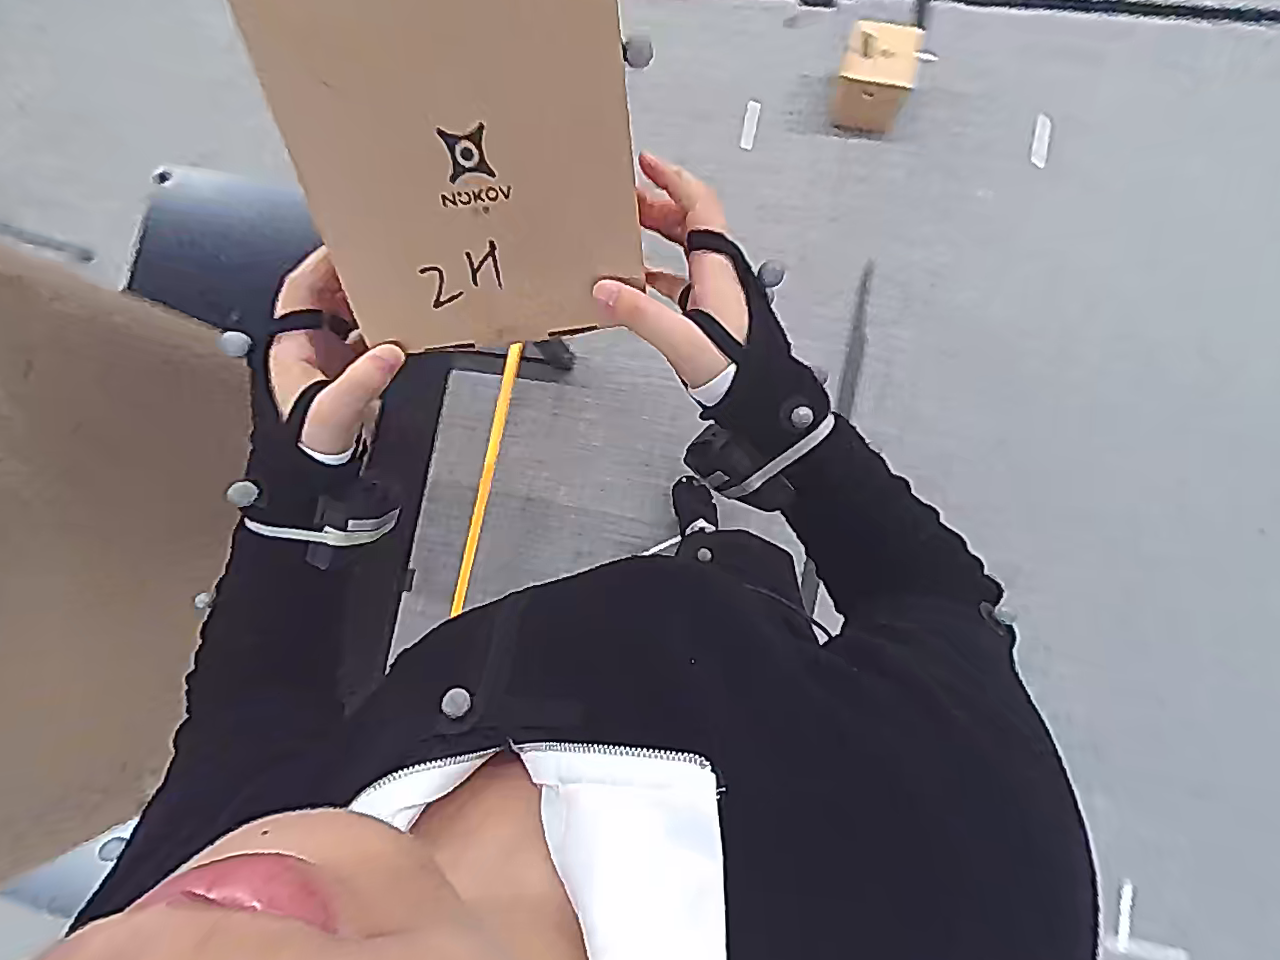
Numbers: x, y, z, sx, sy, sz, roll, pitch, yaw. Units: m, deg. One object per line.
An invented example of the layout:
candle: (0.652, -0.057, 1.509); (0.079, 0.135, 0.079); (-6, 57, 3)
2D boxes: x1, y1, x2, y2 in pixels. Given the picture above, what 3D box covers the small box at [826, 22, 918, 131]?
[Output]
small box: (0.628, -1.100, 1.486); (0.179, 0.176, 0.168); (13, 86, 6)
